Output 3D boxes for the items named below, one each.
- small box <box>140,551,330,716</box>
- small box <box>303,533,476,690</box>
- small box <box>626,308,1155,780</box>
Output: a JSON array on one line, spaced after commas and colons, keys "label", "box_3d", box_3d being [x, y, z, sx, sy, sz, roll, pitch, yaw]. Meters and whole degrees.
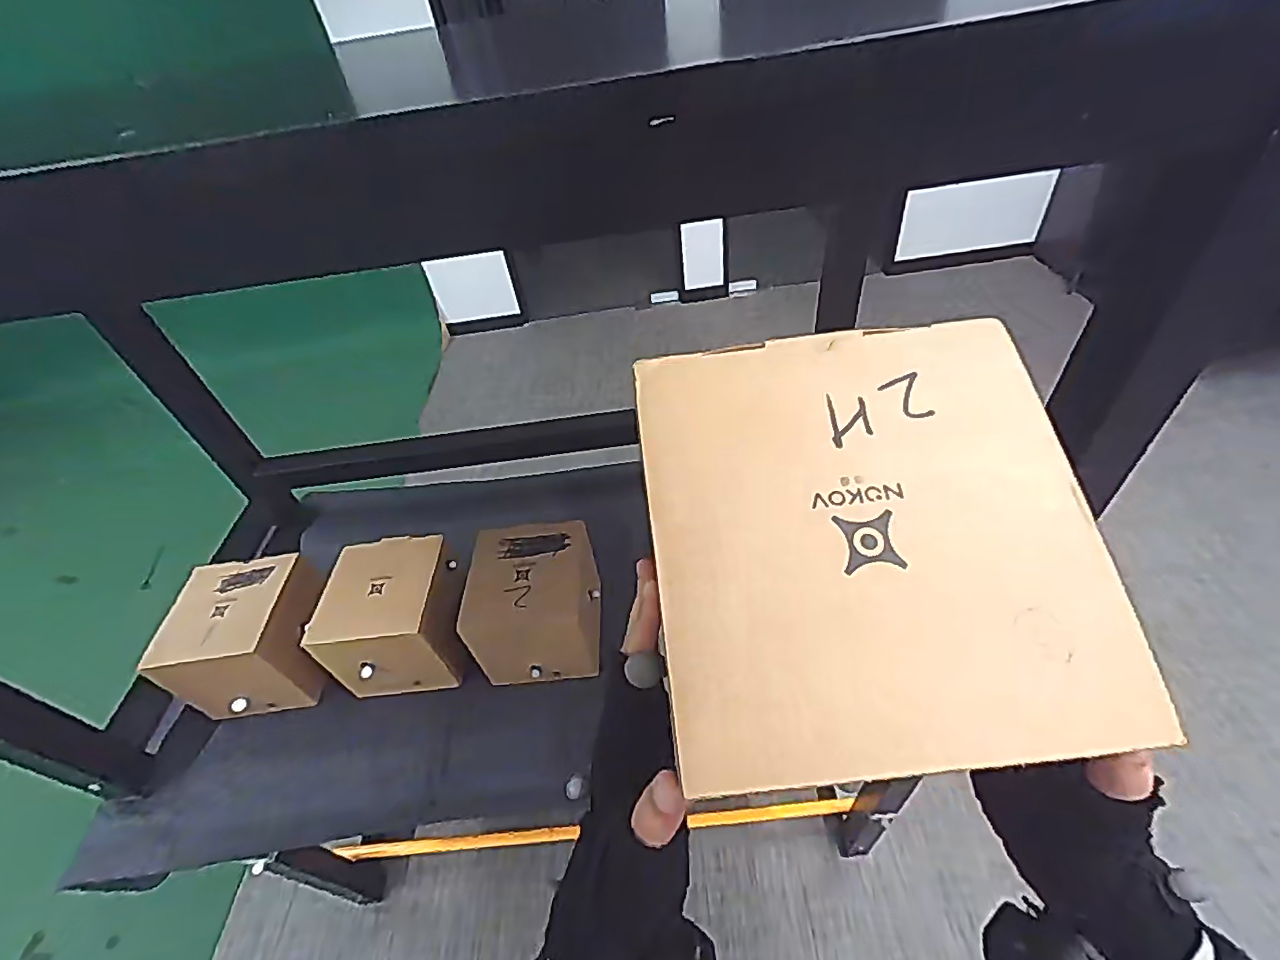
[{"label": "small box", "box_3d": [-0.594, 0.239, 0.842, 0.168, 0.176, 0.179, -9, 44, 1]}, {"label": "small box", "box_3d": [-0.369, 0.209, 0.838, 0.168, 0.176, 0.179, -7, 43, 2]}, {"label": "small box", "box_3d": [0.086, 0.041, 0.284, 0.168, 0.176, 0.179, -6, 67, 1]}]
